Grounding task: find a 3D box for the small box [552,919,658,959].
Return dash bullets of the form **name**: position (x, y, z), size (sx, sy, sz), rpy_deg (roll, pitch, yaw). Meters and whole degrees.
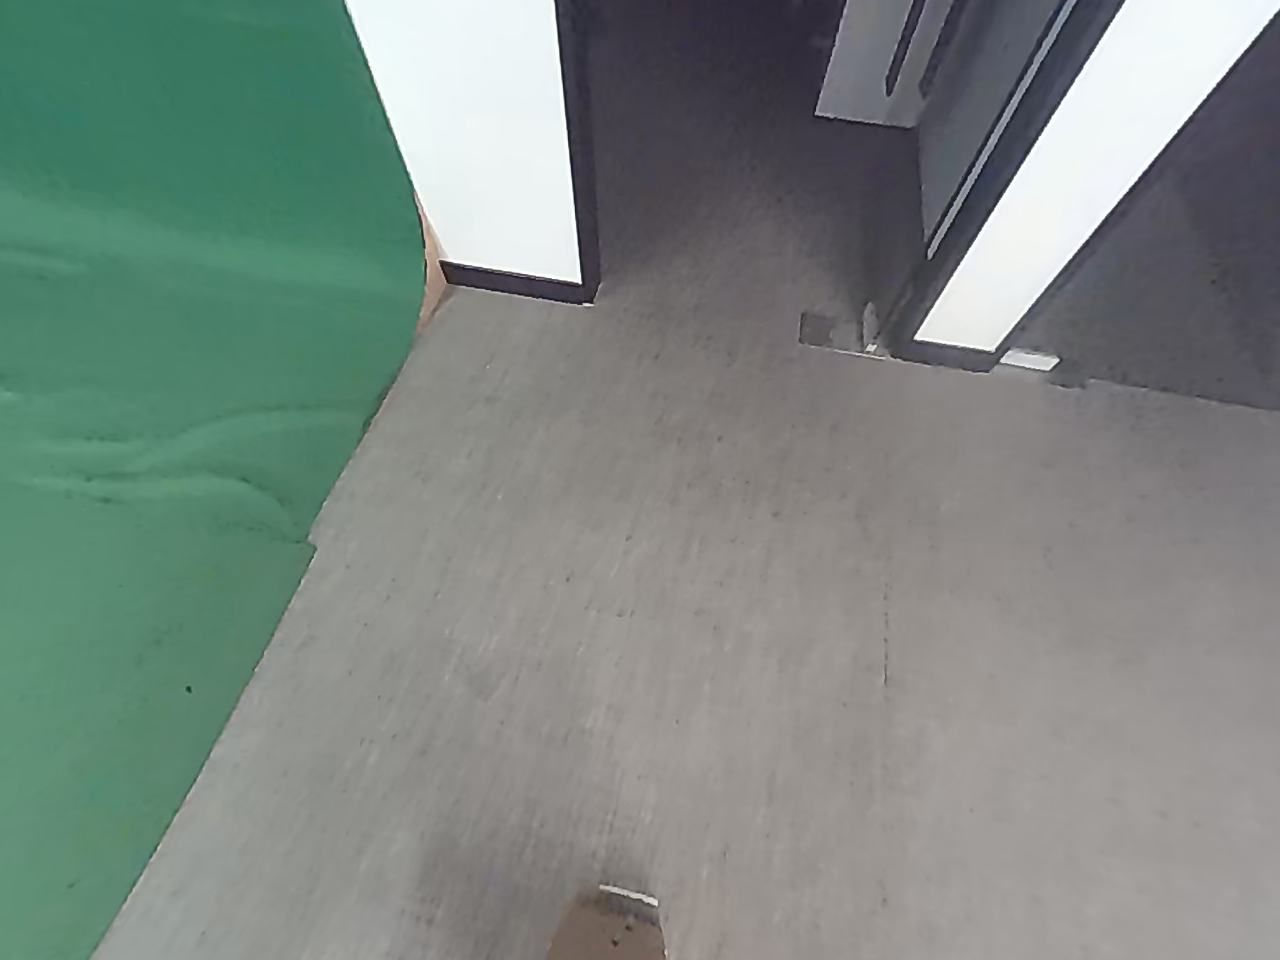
- **small box**: position (-0.071, 0.820, 0.840), size (0.168, 0.176, 0.179), rpy_deg (13, 60, 5)
